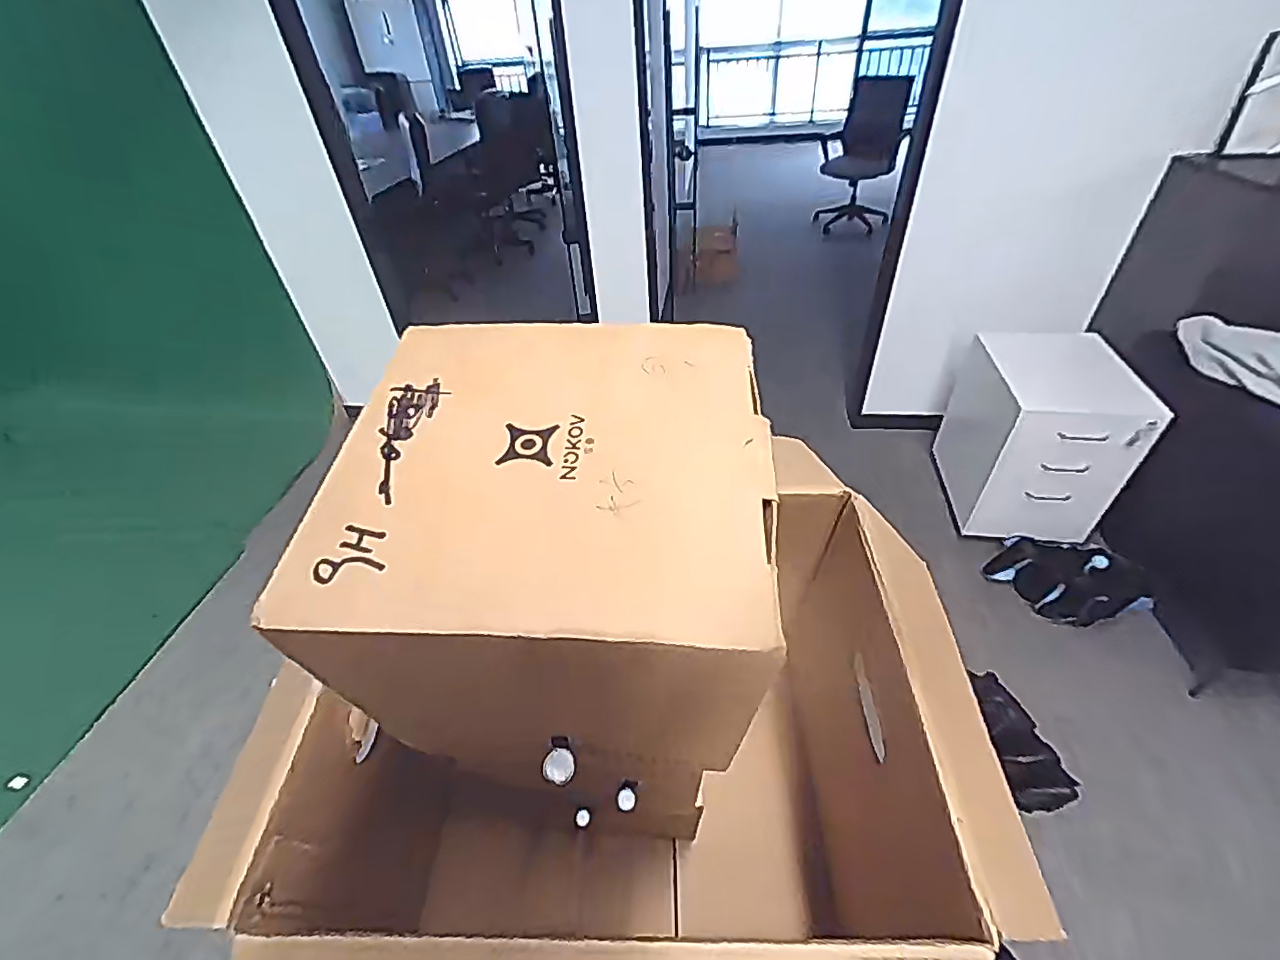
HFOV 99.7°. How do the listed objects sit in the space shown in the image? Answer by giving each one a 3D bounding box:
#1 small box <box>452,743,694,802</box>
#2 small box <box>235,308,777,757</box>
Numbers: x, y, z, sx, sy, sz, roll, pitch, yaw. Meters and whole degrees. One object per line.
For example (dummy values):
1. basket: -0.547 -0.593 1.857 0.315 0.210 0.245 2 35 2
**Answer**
1. small box: -0.037 0.128 0.413 0.168 0.176 0.179 5 50 5
2. small box: -0.039 0.033 0.280 0.179 0.176 0.168 2 50 3
